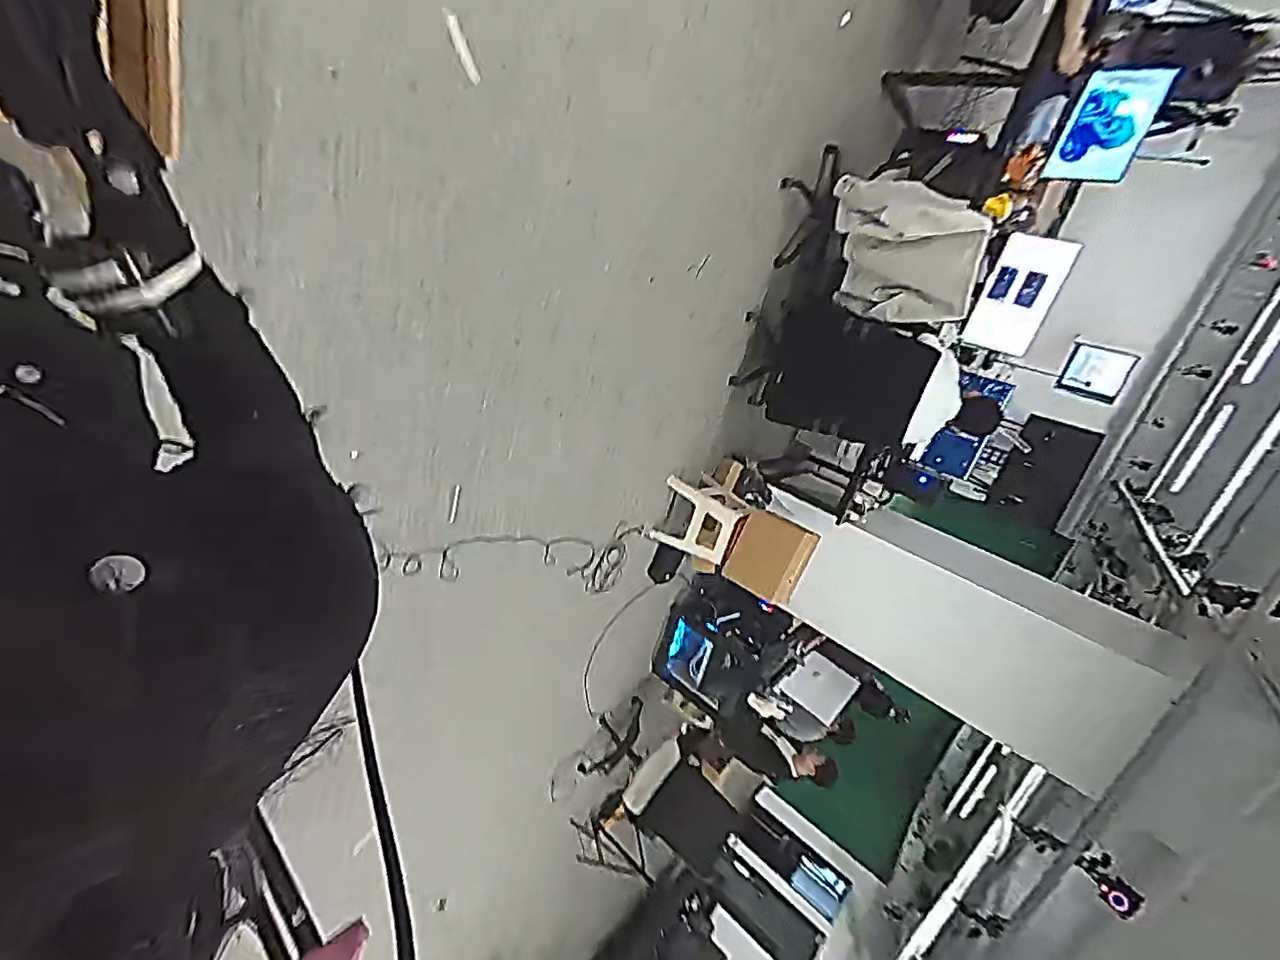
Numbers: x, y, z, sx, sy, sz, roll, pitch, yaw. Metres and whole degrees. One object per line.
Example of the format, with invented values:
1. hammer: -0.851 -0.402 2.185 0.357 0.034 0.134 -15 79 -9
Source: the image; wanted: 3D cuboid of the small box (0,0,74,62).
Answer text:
1. small box: -0.923 -0.713 0.749 0.179 0.176 0.168 -7 120 -51
